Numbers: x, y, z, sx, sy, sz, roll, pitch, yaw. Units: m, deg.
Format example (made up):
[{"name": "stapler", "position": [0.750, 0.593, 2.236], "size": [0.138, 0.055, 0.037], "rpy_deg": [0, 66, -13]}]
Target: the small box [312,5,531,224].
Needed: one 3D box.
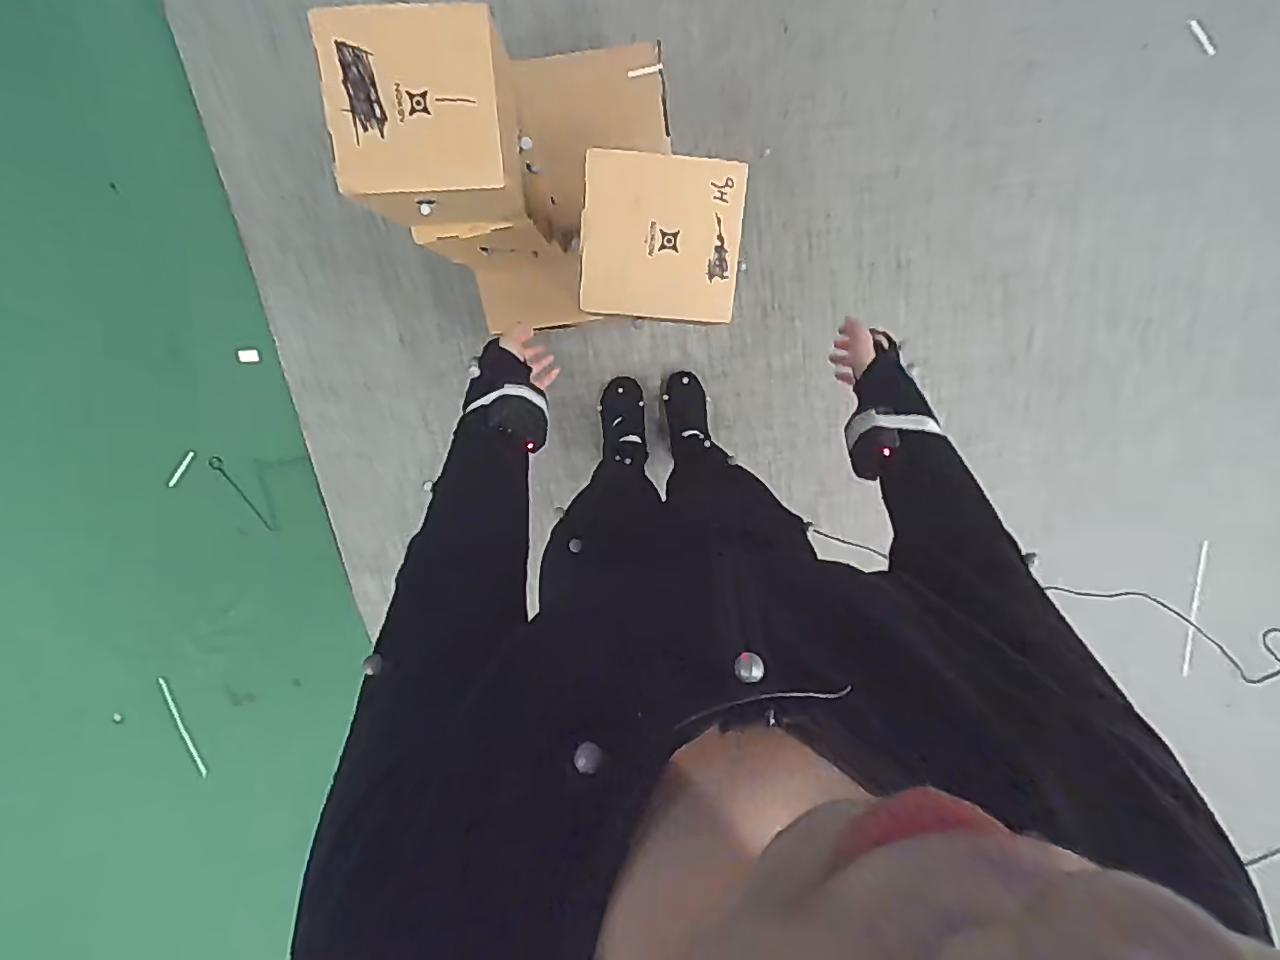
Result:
[{"name": "small box", "position": [-0.232, -0.401, 0.623], "size": [0.179, 0.176, 0.168], "rpy_deg": [-3, 106, -1]}]

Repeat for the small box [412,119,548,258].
[{"name": "small box", "position": [-0.236, -0.435, 0.785], "size": [0.168, 0.176, 0.179], "rpy_deg": [-8, 106, 0]}]

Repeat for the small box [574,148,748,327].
[{"name": "small box", "position": [0.019, -0.281, 0.663], "size": [0.179, 0.176, 0.168], "rpy_deg": [5, 105, -3]}]

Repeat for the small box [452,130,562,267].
[{"name": "small box", "position": [-0.237, -0.478, 0.942], "size": [0.179, 0.176, 0.168], "rpy_deg": [-9, 104, 1]}]
